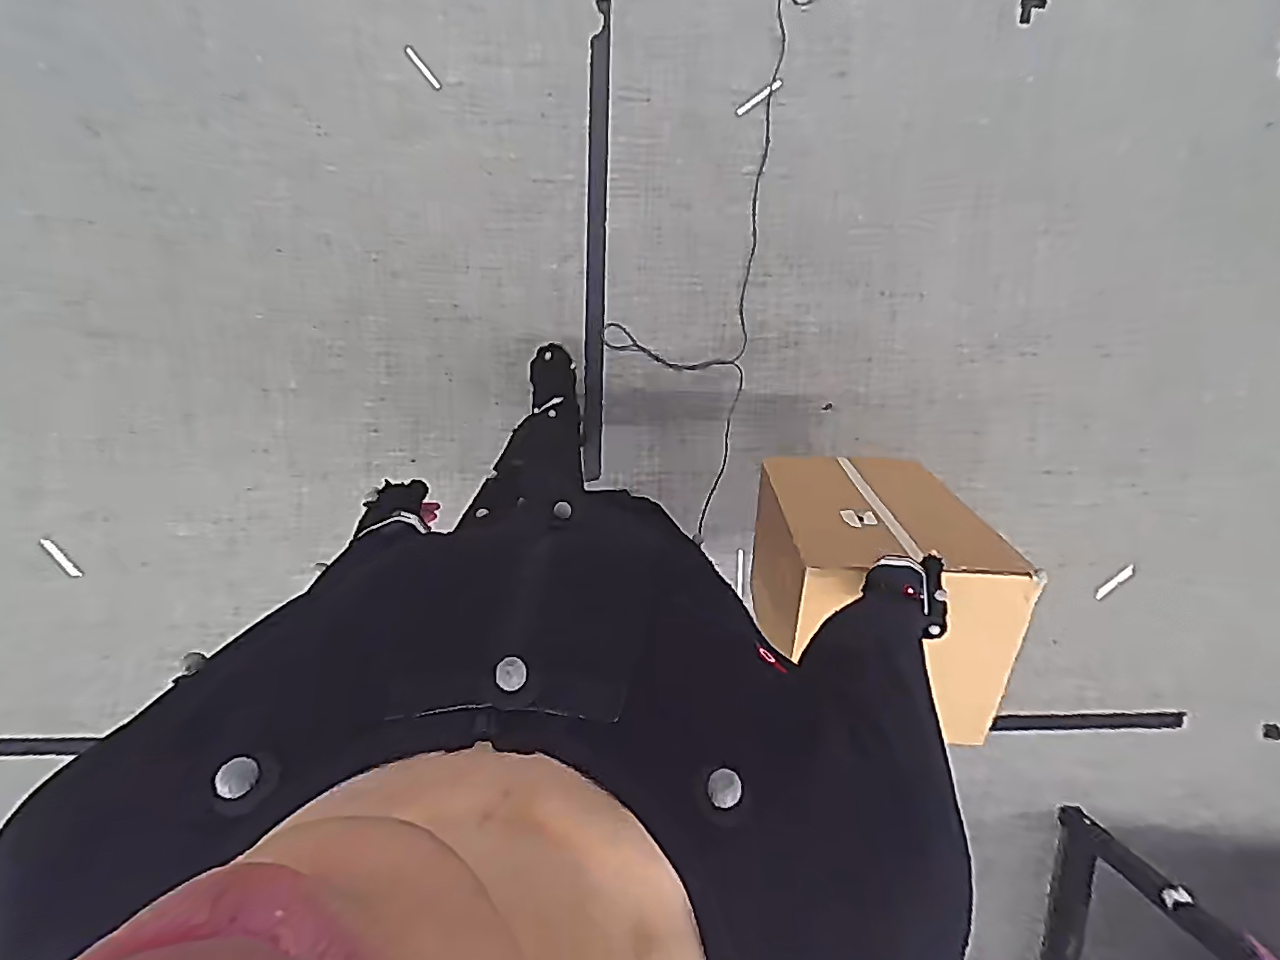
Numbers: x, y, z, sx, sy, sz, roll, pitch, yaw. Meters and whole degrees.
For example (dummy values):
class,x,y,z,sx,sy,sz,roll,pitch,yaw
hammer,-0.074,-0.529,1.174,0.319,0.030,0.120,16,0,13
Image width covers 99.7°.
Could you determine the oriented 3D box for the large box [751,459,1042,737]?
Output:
class,x,y,z,sx,sy,sz,roll,pitch,yaw
large box,0.395,0.182,0.971,0.320,0.408,0.320,1,115,3
